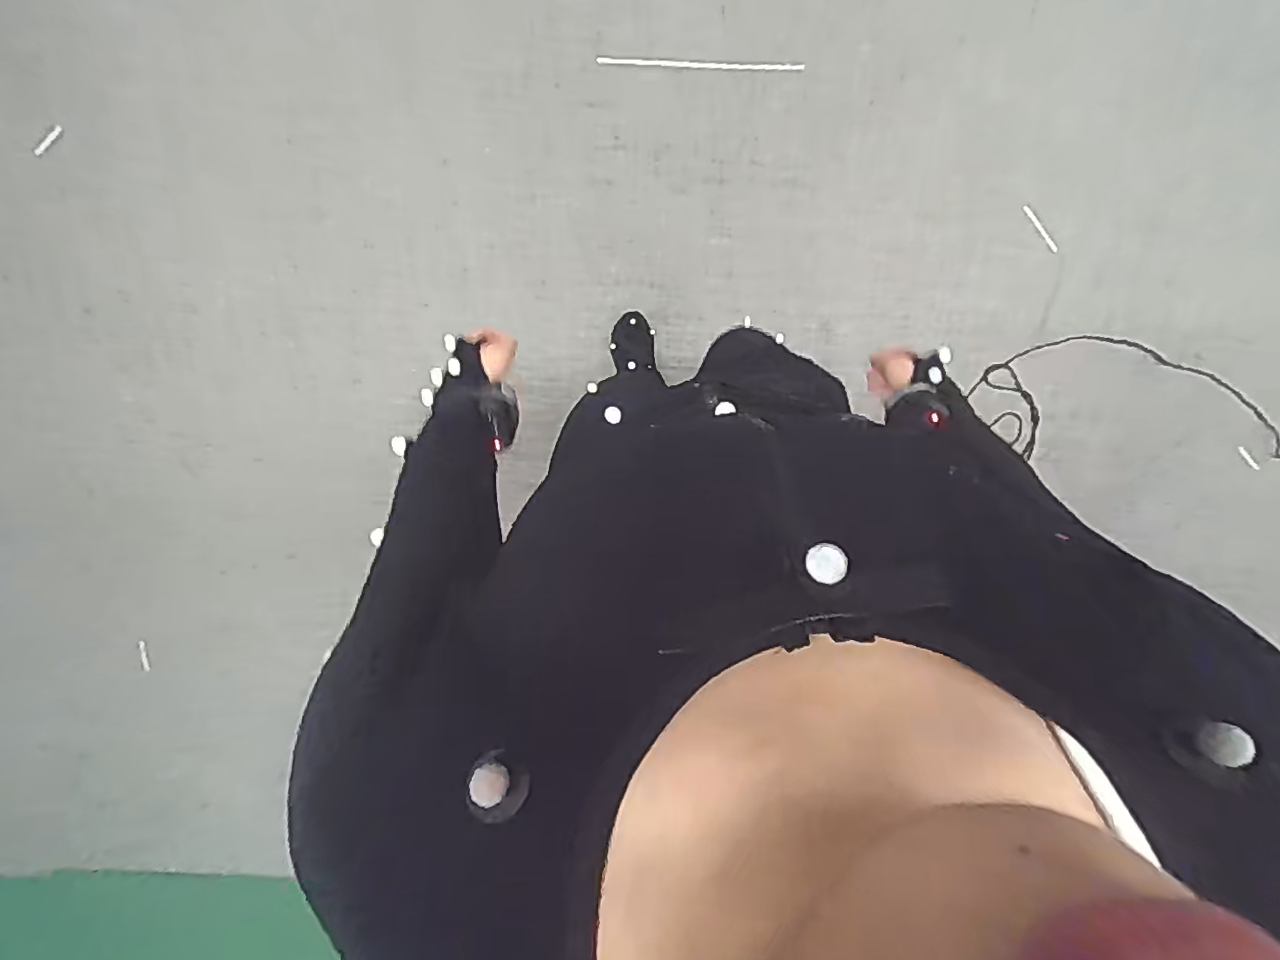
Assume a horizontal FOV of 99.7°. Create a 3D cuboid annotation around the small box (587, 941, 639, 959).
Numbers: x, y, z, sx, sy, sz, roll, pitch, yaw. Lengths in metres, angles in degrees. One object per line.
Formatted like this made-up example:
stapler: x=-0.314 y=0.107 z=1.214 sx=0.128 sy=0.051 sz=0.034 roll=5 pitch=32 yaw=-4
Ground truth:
small box: x=-0.102 y=1.745 z=1.866 sx=0.179 sy=0.176 sz=0.168 roll=11 pitch=103 yaw=-1
